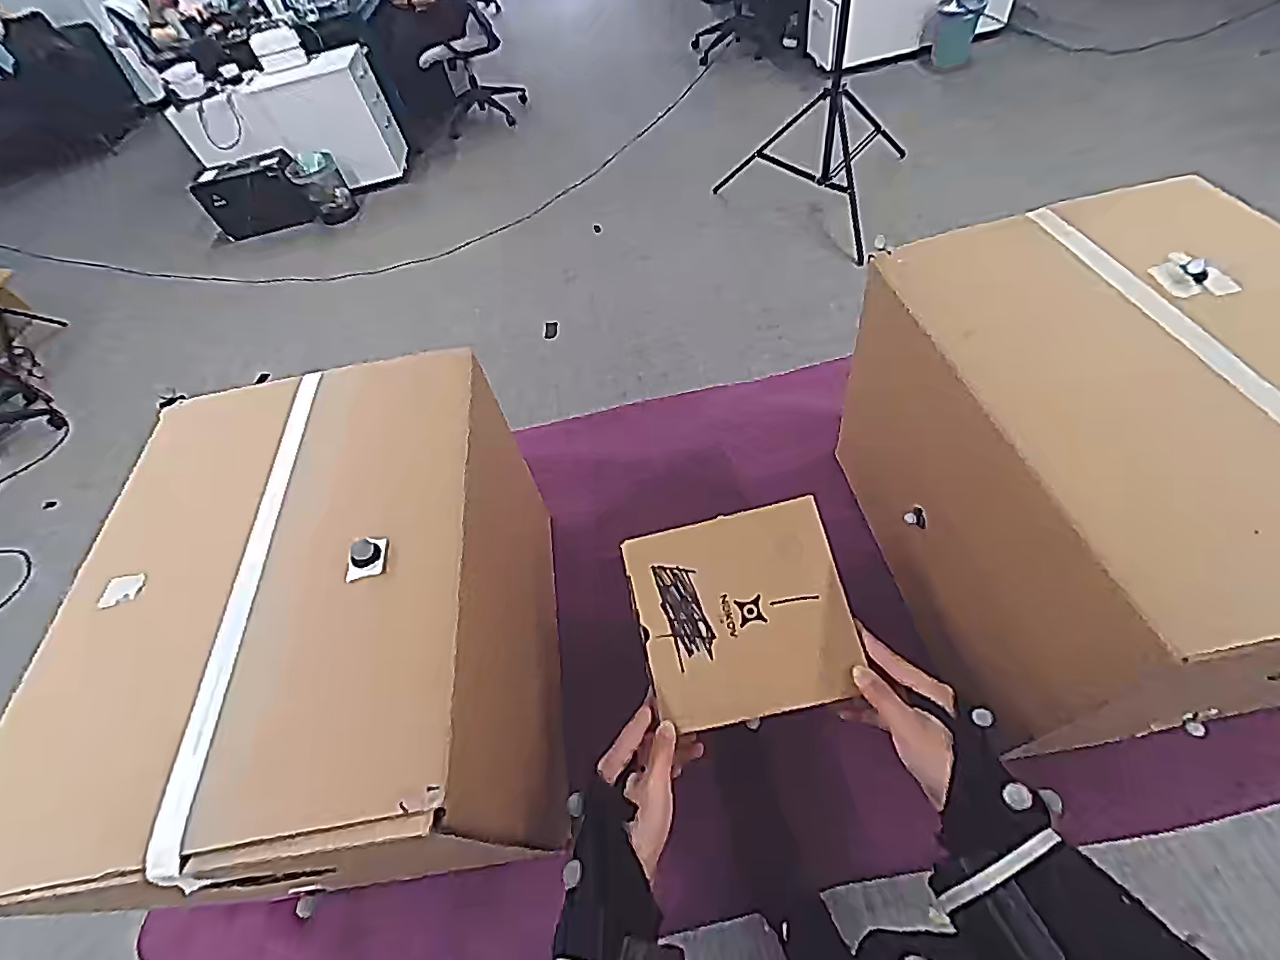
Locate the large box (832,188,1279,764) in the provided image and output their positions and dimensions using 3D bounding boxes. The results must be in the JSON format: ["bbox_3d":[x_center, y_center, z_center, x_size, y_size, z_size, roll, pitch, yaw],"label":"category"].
[{"bbox_3d":[0.419,-0.004,0.515,0.320,0.320,0.408,-12,51,1],"label":"large box"}]
